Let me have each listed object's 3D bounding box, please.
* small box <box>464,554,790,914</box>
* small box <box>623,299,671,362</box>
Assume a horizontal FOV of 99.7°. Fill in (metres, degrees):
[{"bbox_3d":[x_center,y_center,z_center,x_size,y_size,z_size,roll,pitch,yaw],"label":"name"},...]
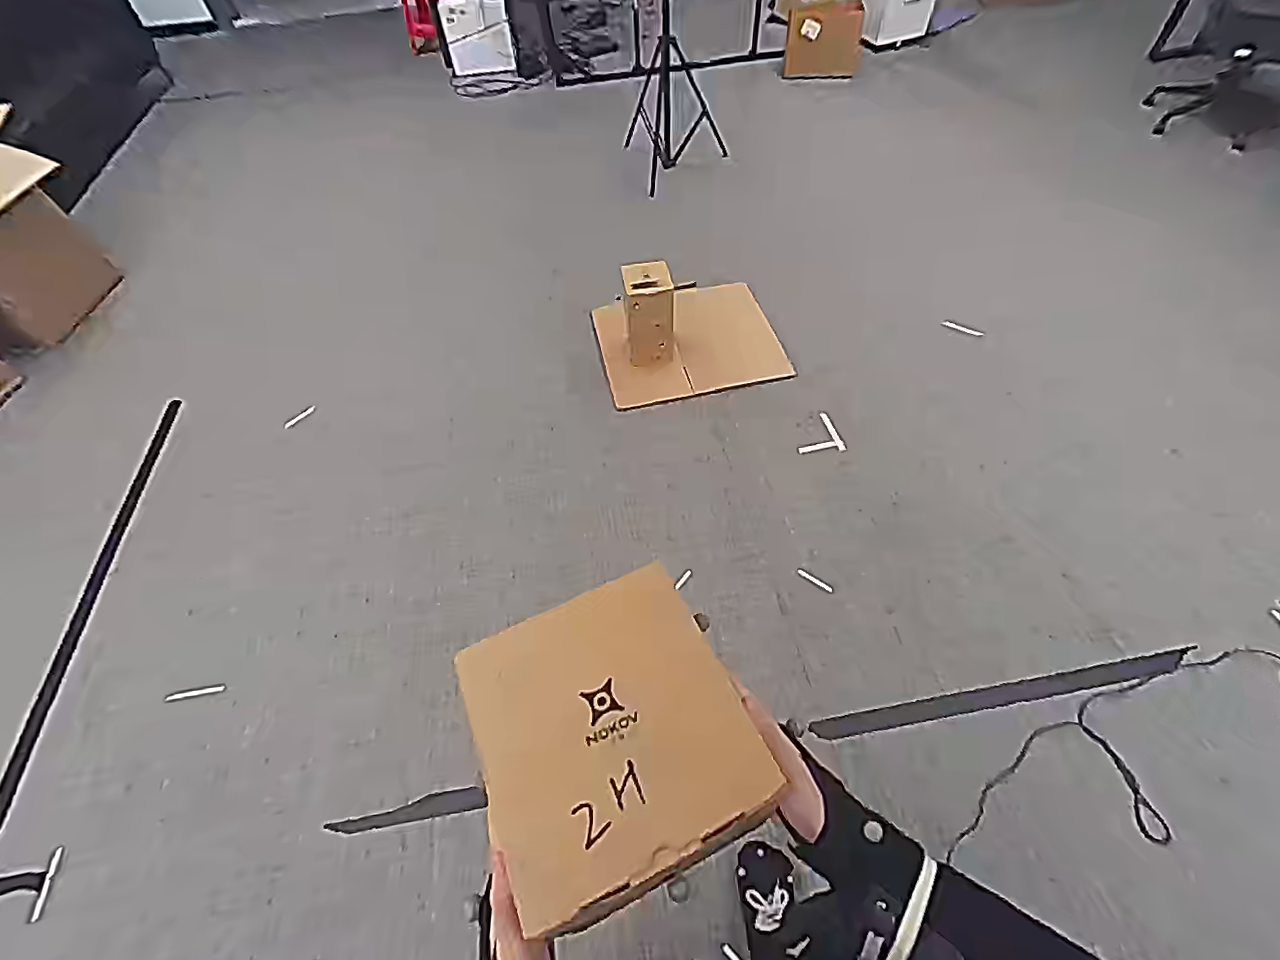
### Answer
[{"bbox_3d":[-0.014,0.193,0.414,0.168,0.176,0.179,-22,54,-11],"label":"small box"},{"bbox_3d":[0.028,-0.573,2.097,0.168,0.176,0.179,-7,54,-4],"label":"small box"}]
